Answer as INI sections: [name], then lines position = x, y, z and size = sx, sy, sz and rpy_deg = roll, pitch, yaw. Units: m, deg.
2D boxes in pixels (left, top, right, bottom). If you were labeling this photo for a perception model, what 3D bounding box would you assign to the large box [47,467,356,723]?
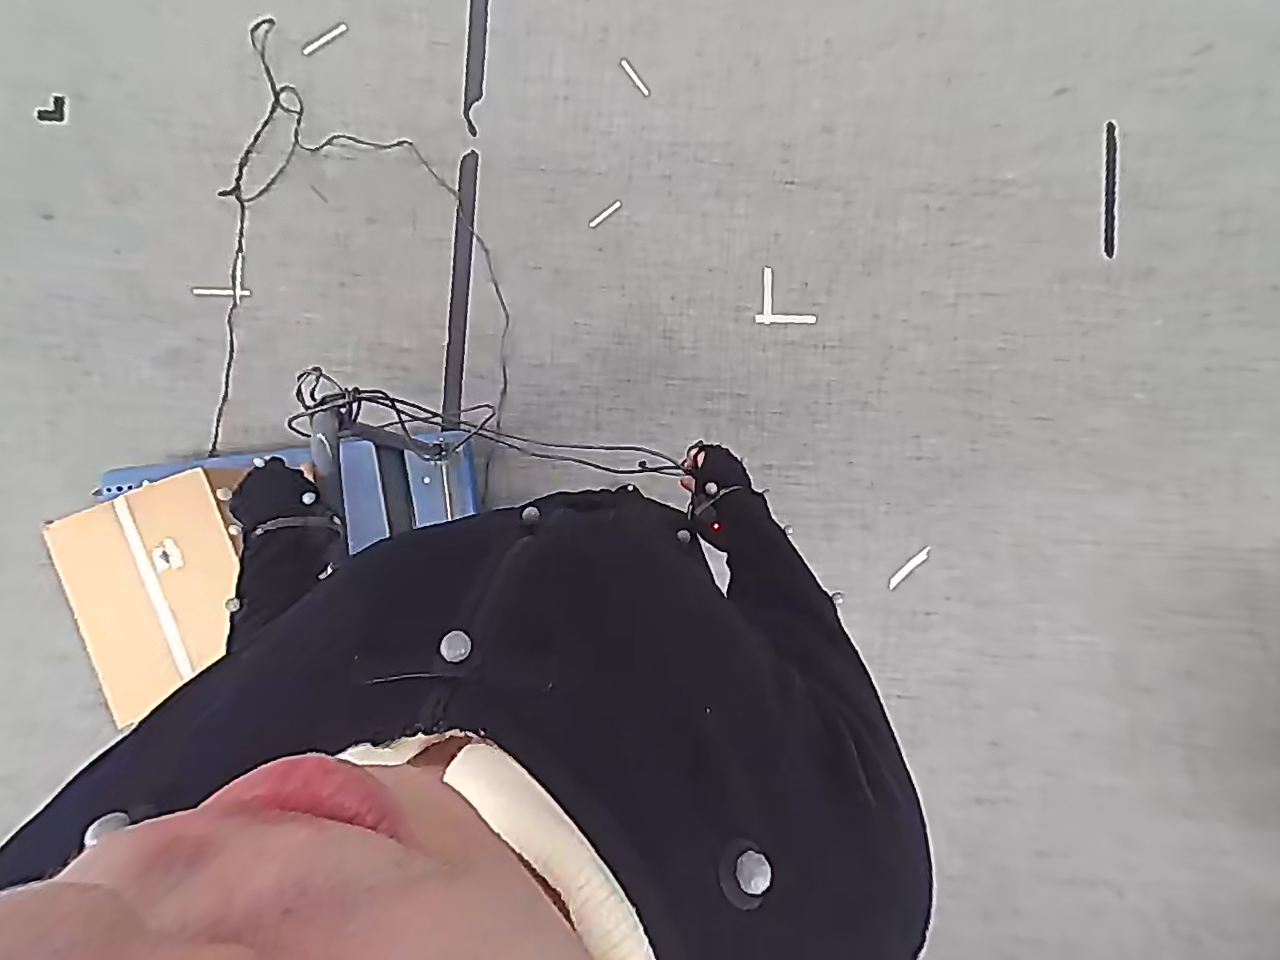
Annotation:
[large box]
position = -0.886, 0.216, 1.150
size = 0.320, 0.320, 0.408
rpy_deg = -21, 89, -3
